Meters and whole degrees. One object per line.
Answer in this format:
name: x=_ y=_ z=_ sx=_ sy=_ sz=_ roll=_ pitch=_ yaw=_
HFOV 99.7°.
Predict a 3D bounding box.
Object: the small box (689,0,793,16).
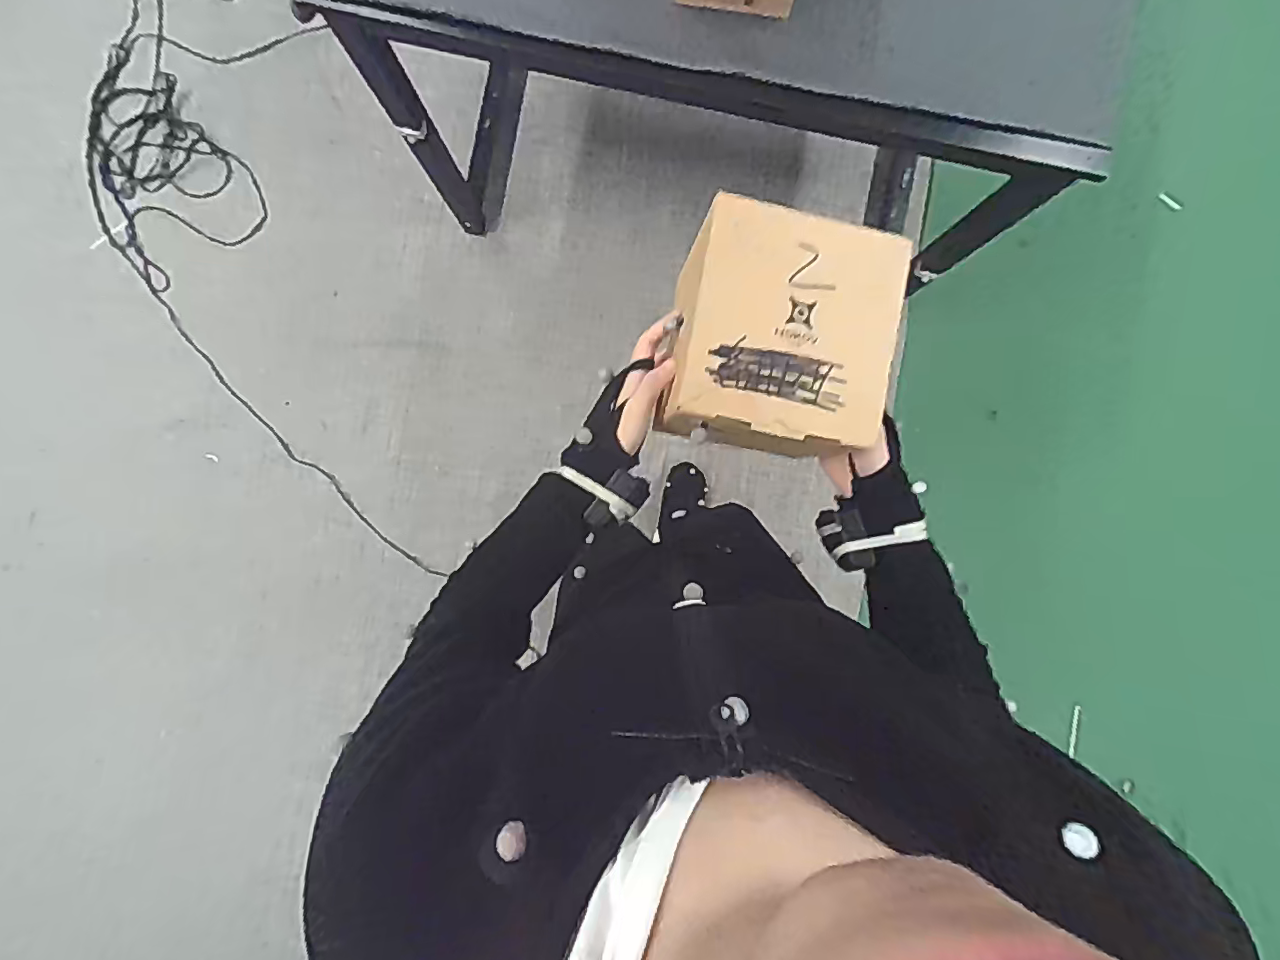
small box: x=0.145 y=-0.760 z=0.692 sx=0.168 sy=0.176 sz=0.179 roll=7 pitch=88 yaw=0
